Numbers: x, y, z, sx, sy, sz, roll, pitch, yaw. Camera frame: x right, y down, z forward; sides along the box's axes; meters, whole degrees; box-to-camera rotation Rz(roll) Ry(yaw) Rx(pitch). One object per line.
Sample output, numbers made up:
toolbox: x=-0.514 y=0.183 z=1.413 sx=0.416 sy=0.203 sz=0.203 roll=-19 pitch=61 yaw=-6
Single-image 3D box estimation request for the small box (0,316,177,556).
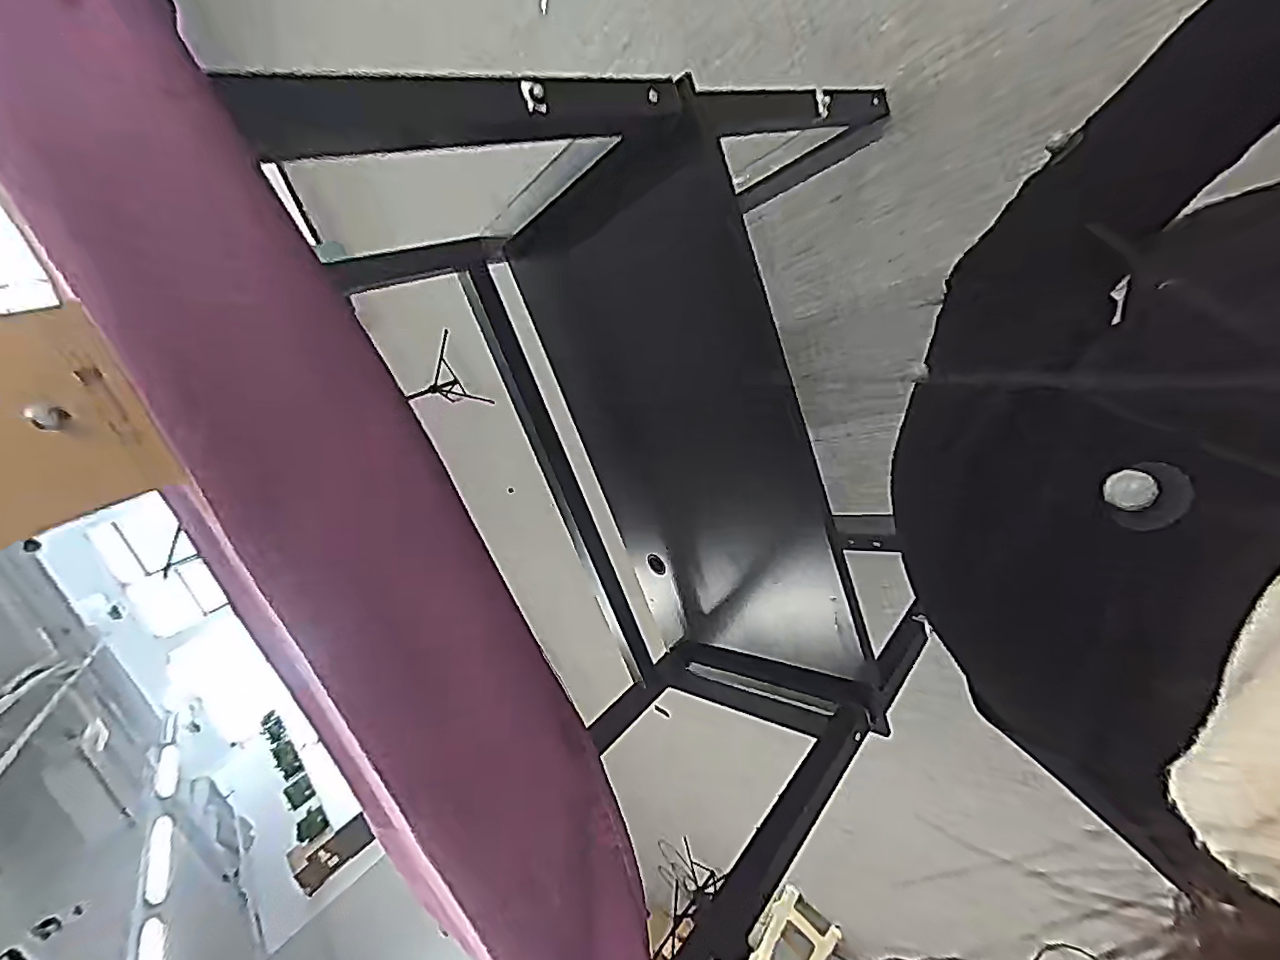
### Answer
small box: x=-0.552 y=-0.031 z=0.480 sx=0.179 sy=0.176 sz=0.168 roll=1 pitch=117 yaw=49
